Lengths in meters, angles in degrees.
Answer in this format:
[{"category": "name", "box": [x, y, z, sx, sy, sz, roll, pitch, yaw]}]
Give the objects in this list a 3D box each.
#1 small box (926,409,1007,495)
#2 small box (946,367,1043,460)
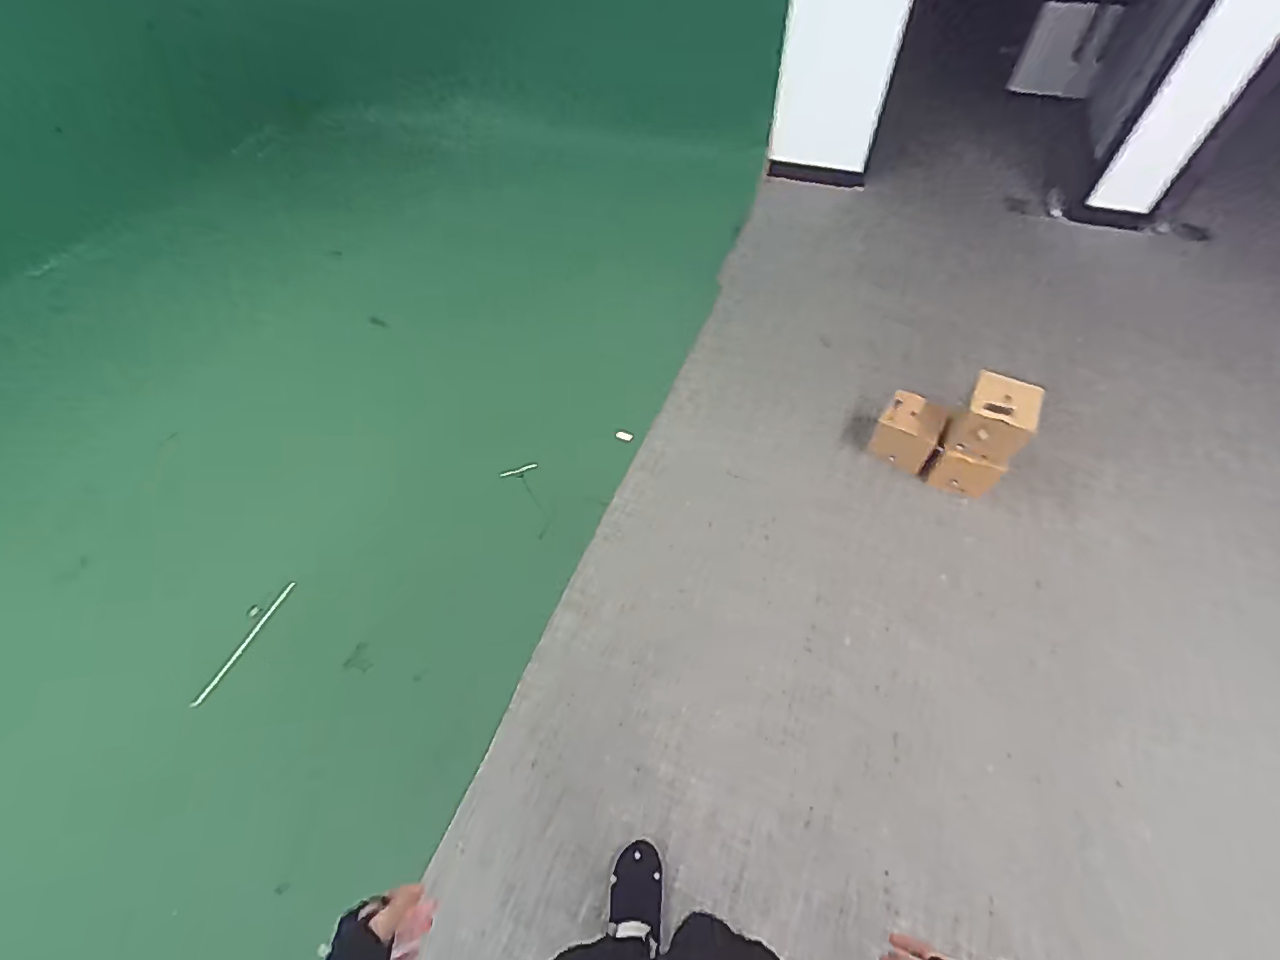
[{"category": "small box", "box": [1.008, -0.085, 1.671, 0.168, 0.176, 0.179, 18, 60, 14]}, {"category": "small box", "box": [1.002, -0.185, 1.539, 0.168, 0.176, 0.179, 23, 61, 17]}]
